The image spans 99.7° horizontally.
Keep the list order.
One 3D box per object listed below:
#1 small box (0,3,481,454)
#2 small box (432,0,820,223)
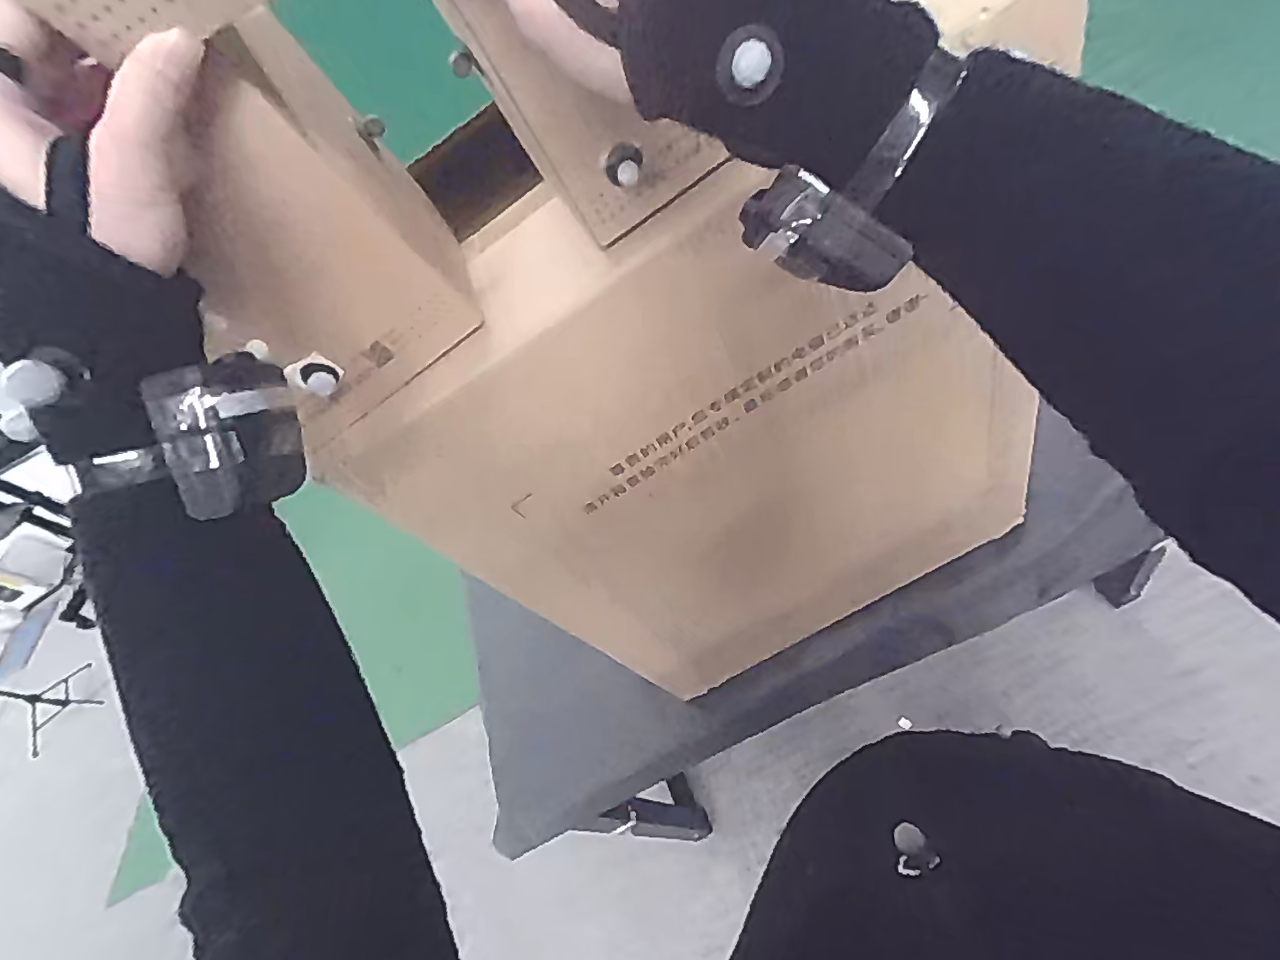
[{"bbox_3d":[-0.228,-0.149,0.344,0.168,0.176,0.179,-36,49,7],"label":"small box"},{"bbox_3d":[-0.022,-0.282,0.309,0.168,0.176,0.179,-33,47,5],"label":"small box"}]
